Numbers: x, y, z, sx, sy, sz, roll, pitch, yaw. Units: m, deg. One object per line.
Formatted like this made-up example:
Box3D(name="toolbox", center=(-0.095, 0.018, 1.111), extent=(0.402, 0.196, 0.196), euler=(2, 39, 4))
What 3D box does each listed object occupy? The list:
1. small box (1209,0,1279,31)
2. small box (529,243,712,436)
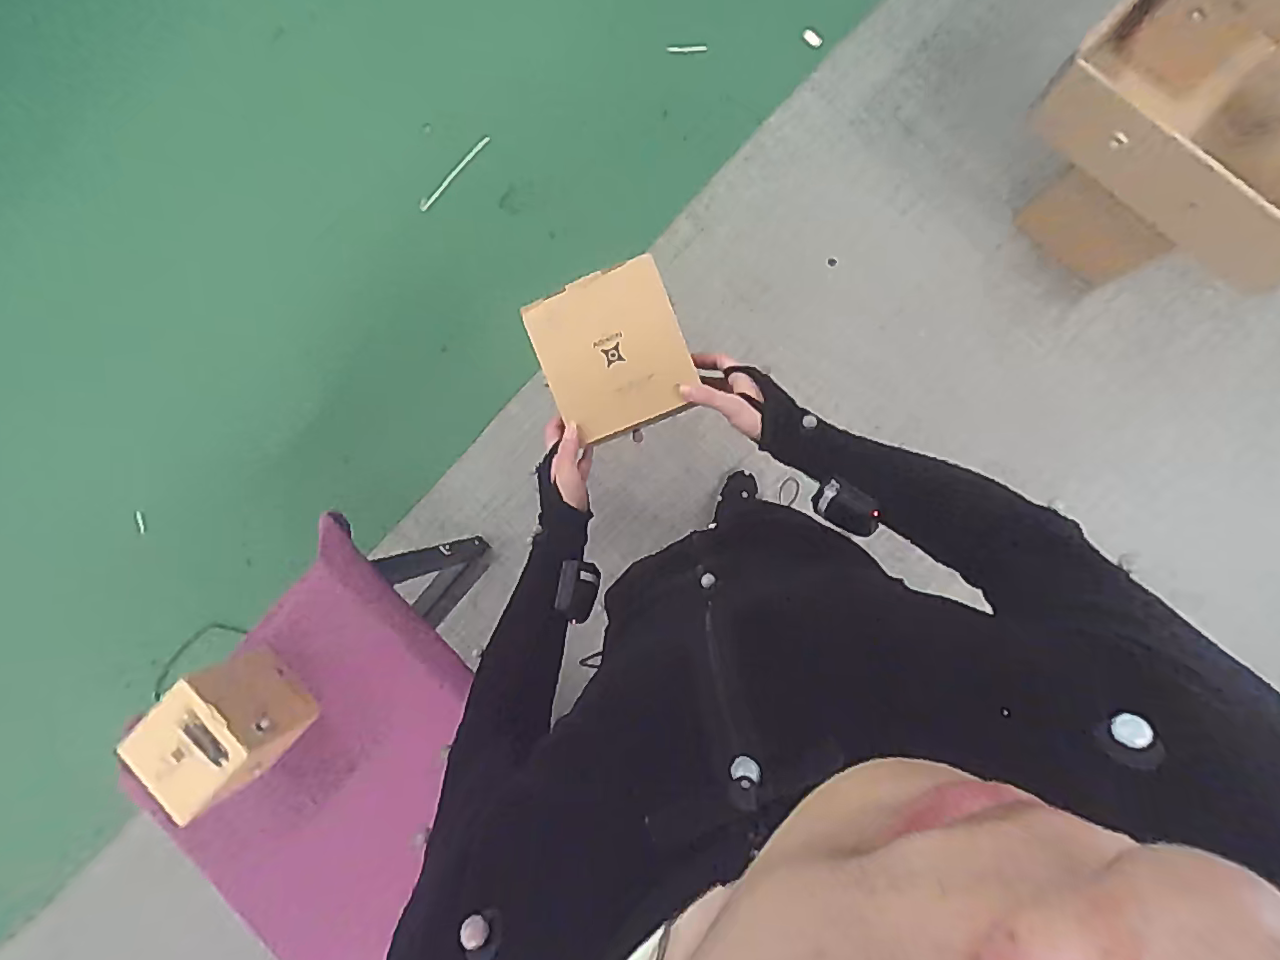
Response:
Box3D(name="small box", center=(1.079, -0.906, 0.877), extent=(0.179, 0.176, 0.168), euler=(-42, 84, 4))
Box3D(name="small box", center=(-0.017, -0.162, 0.688), extent=(0.168, 0.176, 0.179), euler=(-20, 93, 6))
